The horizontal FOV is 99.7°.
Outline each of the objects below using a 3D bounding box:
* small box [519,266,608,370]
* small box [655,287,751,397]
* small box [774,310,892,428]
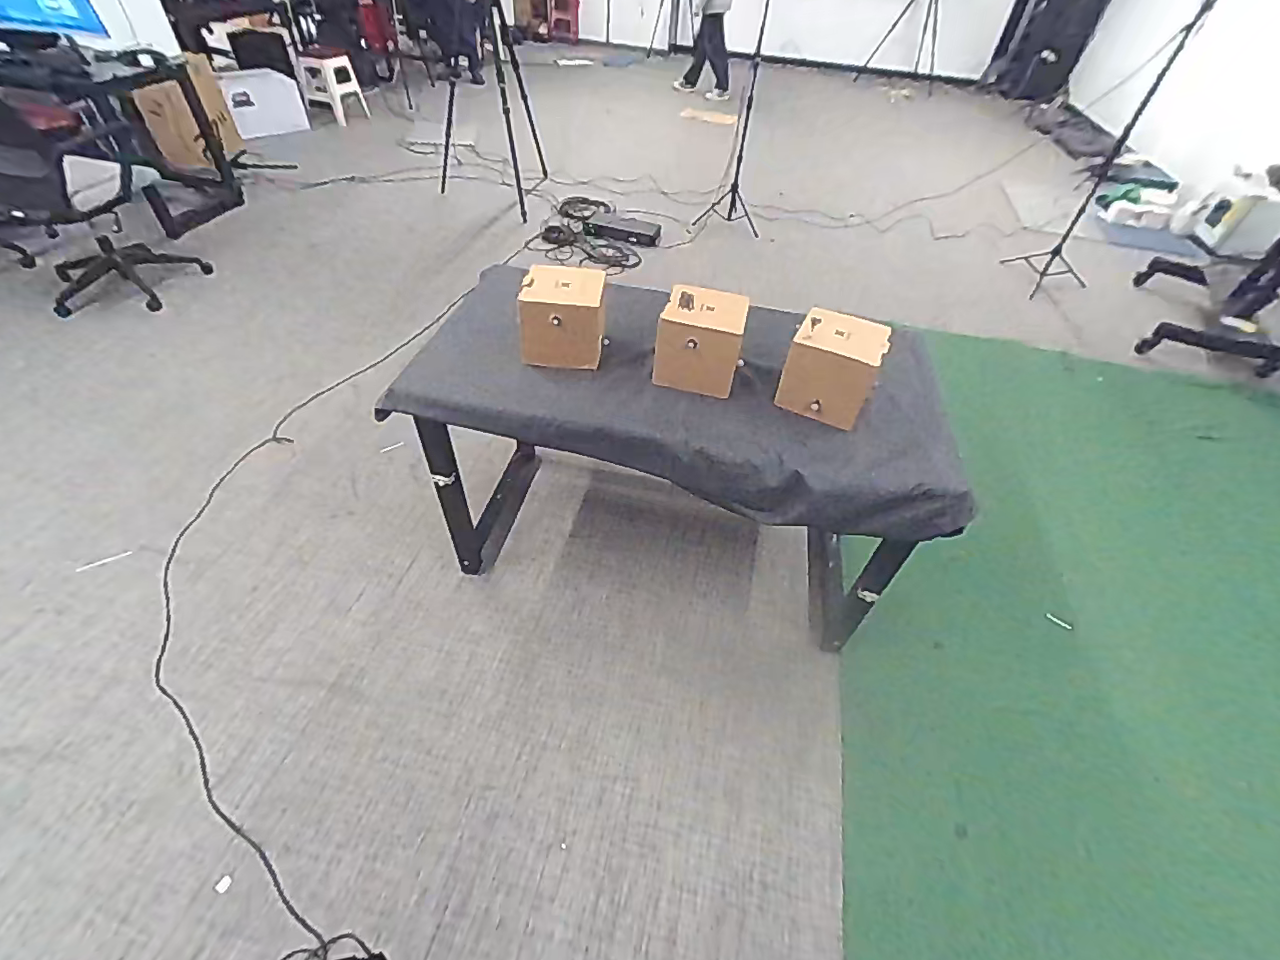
[{"bbox_3d":[-0.170,-0.371,1.250,0.179,0.176,0.168,6,48,-2],"label":"small box"},{"bbox_3d":[0.138,-0.308,1.216,0.179,0.176,0.168,14,47,6],"label":"small box"},{"bbox_3d":[0.414,-0.237,1.175,0.179,0.176,0.168,23,49,16],"label":"small box"}]
